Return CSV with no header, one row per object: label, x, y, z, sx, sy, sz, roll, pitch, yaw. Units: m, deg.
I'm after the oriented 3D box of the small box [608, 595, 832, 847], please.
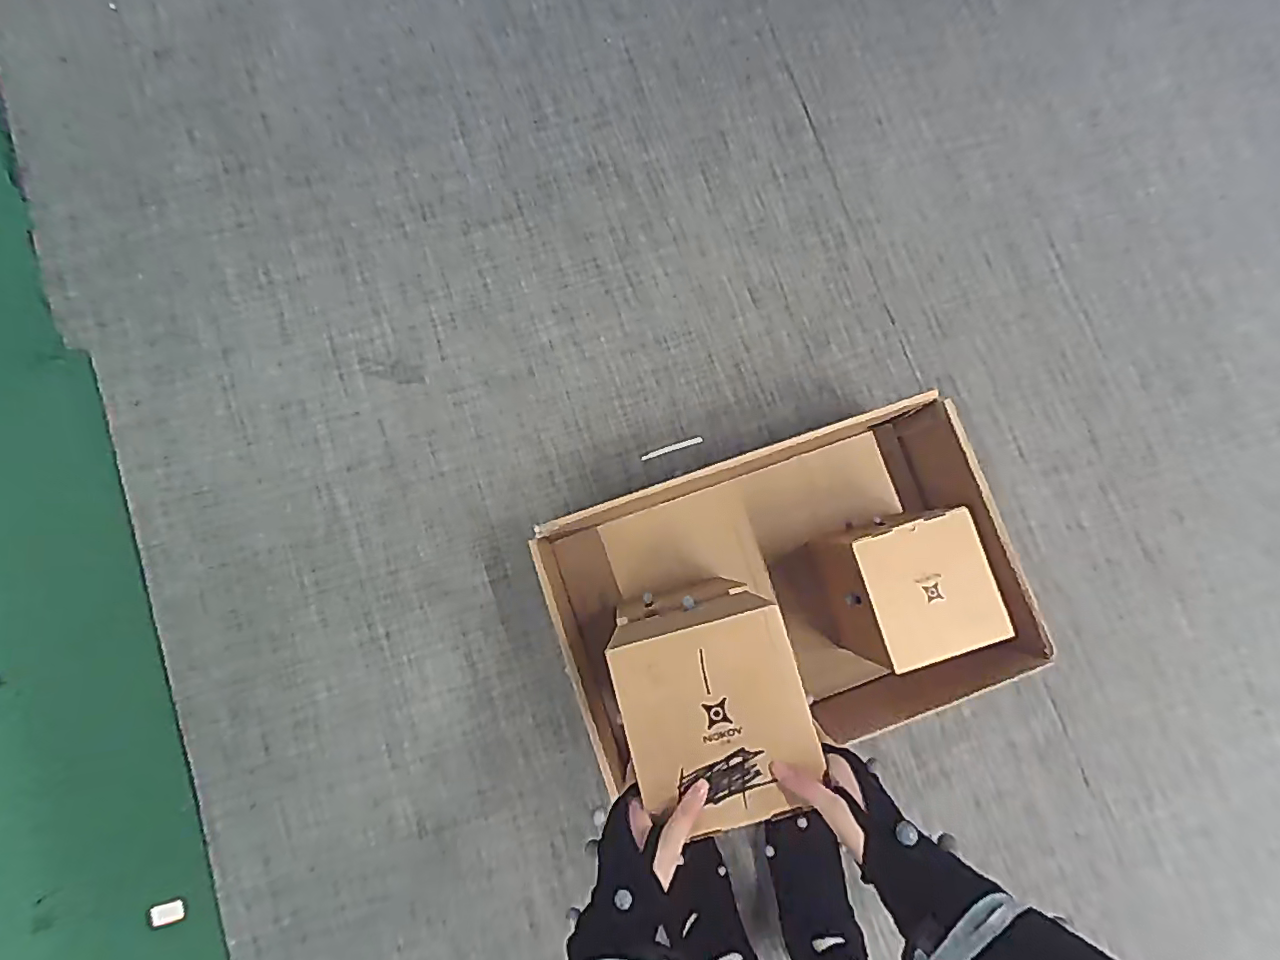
small box,0.073,0.229,0.562,0.168,0.176,0.179,-16,81,-1
